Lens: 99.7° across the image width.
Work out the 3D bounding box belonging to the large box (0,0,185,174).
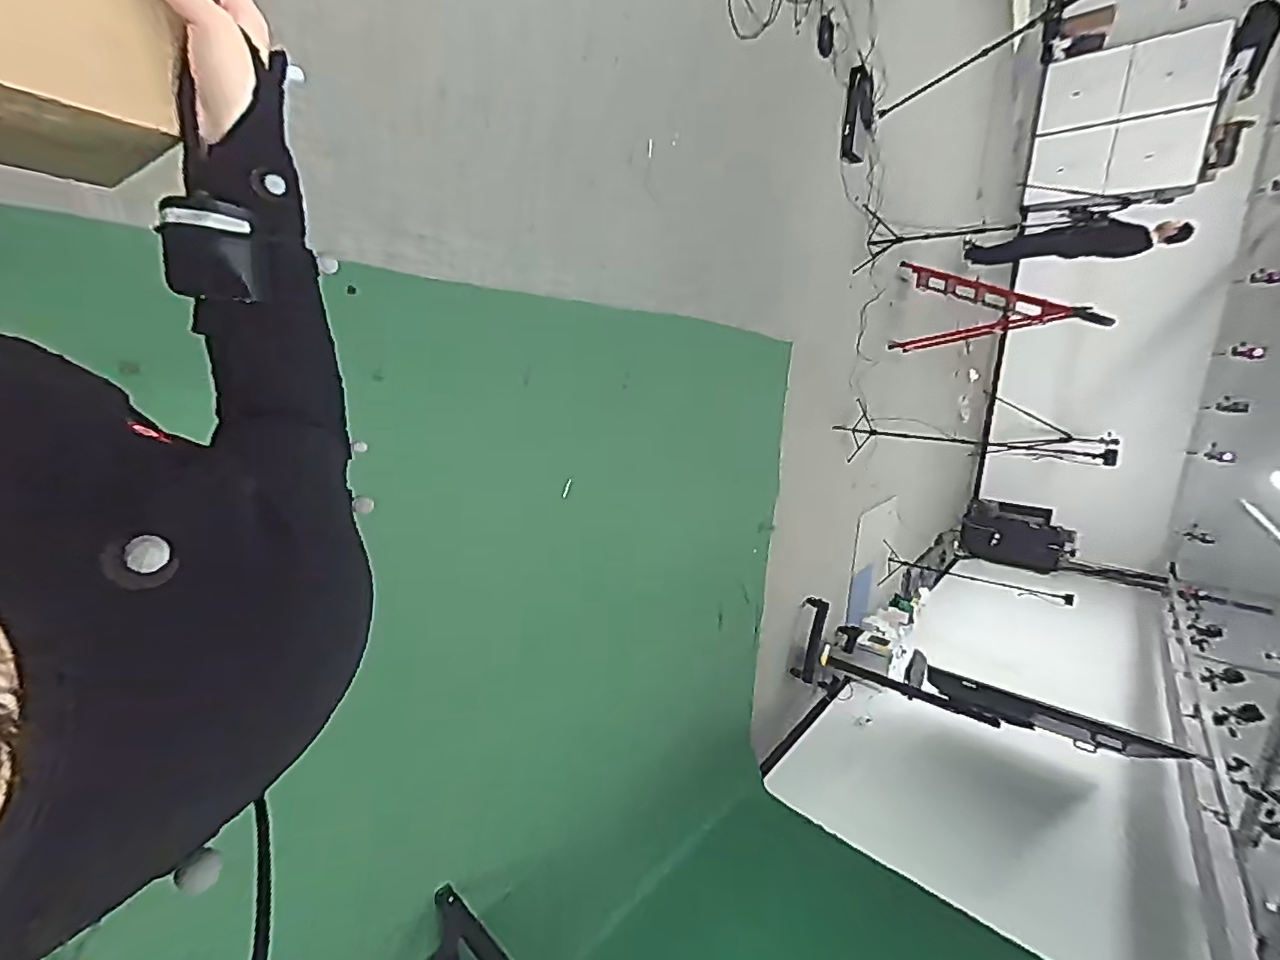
[{"bbox_3d":[-0.539,-0.398,0.272,0.408,0.320,0.320,-10,111,-51],"label":"large box"}]
